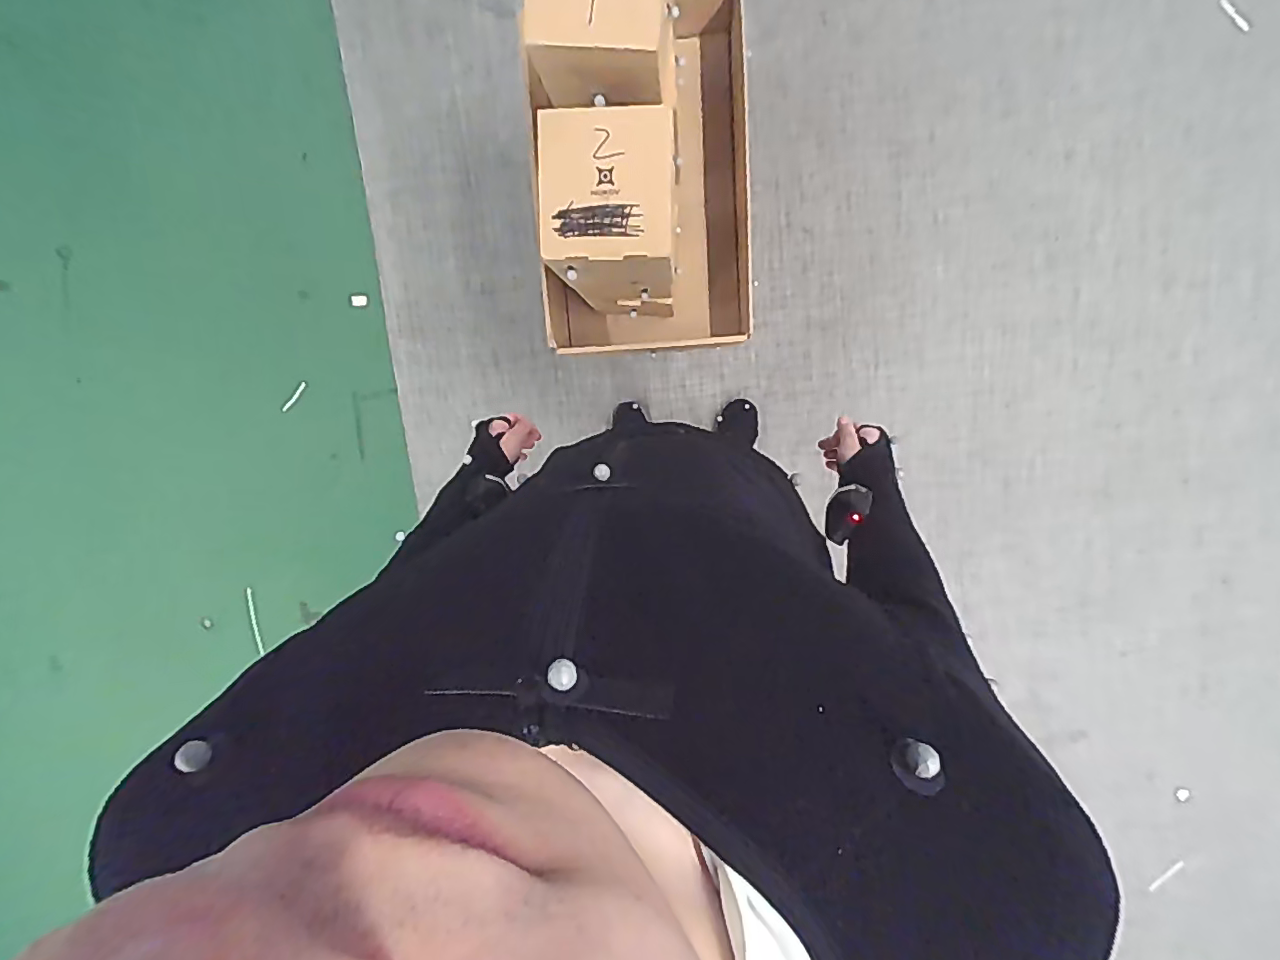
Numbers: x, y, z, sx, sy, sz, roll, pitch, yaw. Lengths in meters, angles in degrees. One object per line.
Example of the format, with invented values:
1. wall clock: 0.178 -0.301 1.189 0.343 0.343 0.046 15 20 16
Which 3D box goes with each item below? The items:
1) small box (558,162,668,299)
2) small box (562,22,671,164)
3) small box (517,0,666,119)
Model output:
1. small box: -0.038 -0.404 0.905 0.168 0.176 0.179 1 98 4
2. small box: -0.038 -0.639 0.871 0.168 0.176 0.179 -4 101 4
3. small box: -0.055 -0.613 0.709 0.168 0.176 0.179 5 102 3
